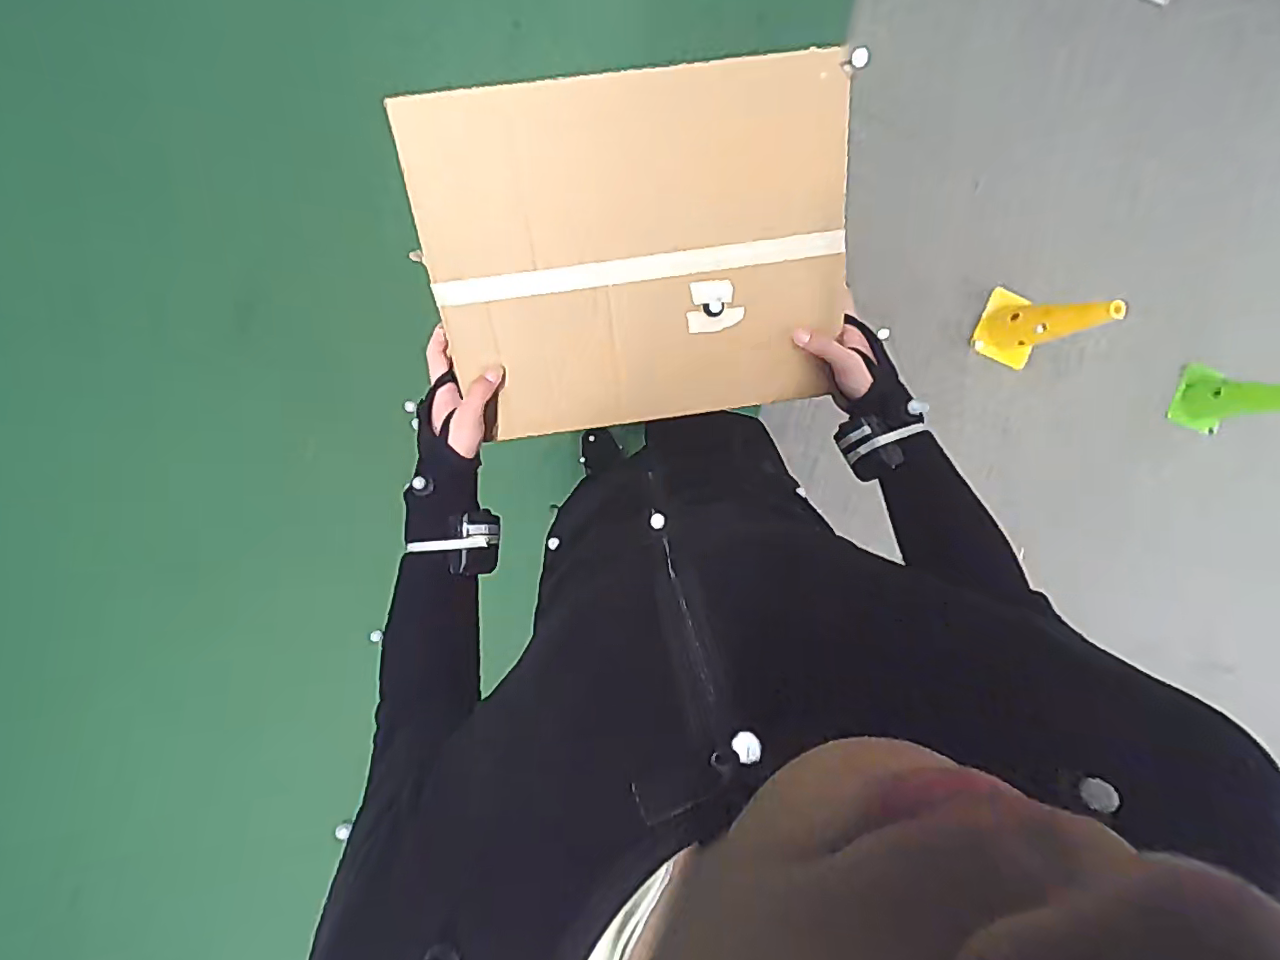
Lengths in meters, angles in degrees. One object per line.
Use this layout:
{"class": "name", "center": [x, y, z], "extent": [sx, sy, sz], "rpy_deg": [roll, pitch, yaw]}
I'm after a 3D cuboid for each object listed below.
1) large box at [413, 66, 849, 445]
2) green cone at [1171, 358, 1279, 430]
{"class": "large box", "center": [-0.004, -0.263, 0.677], "extent": [0.408, 0.320, 0.320], "rpy_deg": [-8, 115, -3]}
{"class": "green cone", "center": [1.884, -0.263, 1.616], "extent": [0.202, 0.368, 0.200], "rpy_deg": [17, 95, -7]}
